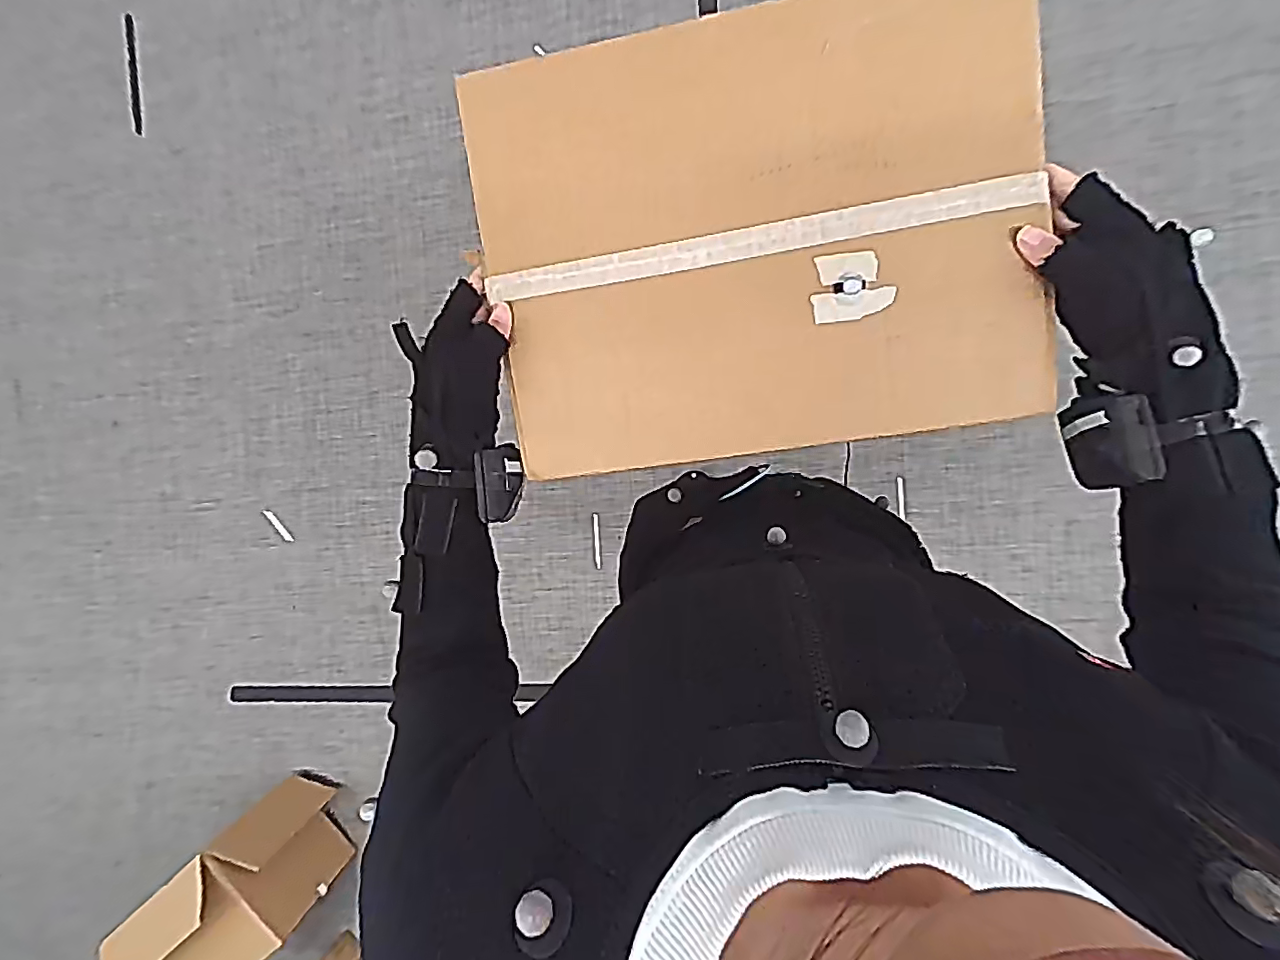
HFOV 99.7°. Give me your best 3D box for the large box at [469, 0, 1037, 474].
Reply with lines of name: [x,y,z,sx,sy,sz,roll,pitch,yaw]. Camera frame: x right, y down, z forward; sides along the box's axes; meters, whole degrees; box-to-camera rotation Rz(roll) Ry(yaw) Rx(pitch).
large box: [0.096,-0.203,0.561,0.408,0.320,0.320,-8,98,7]
